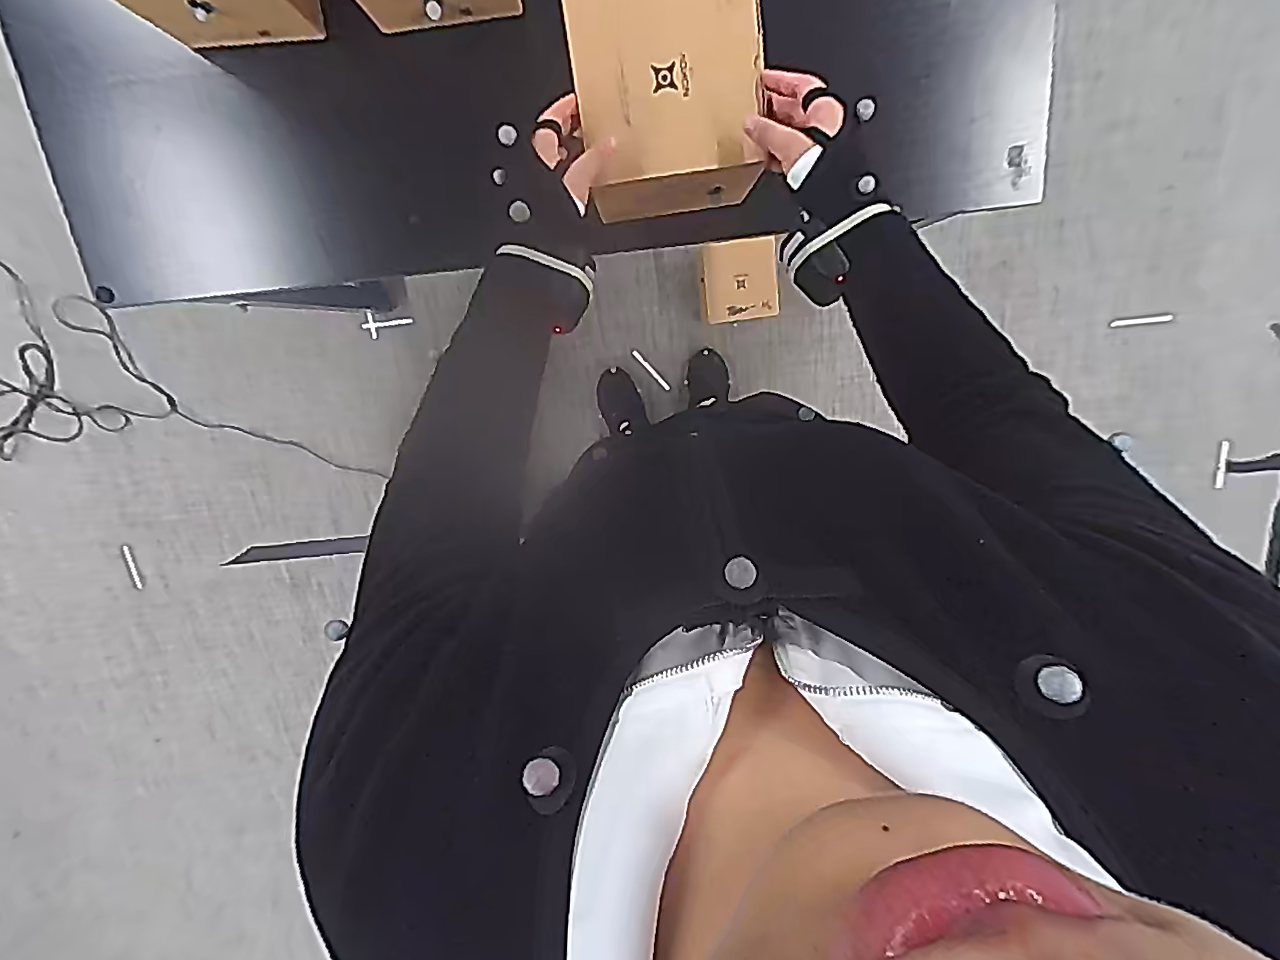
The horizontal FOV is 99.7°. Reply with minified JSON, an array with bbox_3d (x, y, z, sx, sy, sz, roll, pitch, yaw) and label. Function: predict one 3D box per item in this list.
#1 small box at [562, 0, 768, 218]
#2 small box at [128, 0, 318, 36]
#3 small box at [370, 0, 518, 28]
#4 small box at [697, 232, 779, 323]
[{"bbox_3d":[0.027,-0.392,0.572,0.179,0.176,0.168,-8,103,4],"label":"small box"},{"bbox_3d":[-0.449,-0.571,0.526,0.168,0.176,0.179,-3,105,0],"label":"small box"},{"bbox_3d":[-0.225,-0.589,0.520,0.168,0.176,0.179,-6,106,2],"label":"small box"},{"bbox_3d":[0.230,-0.479,1.300,0.168,0.176,0.179,-6,105,3],"label":"small box"}]
